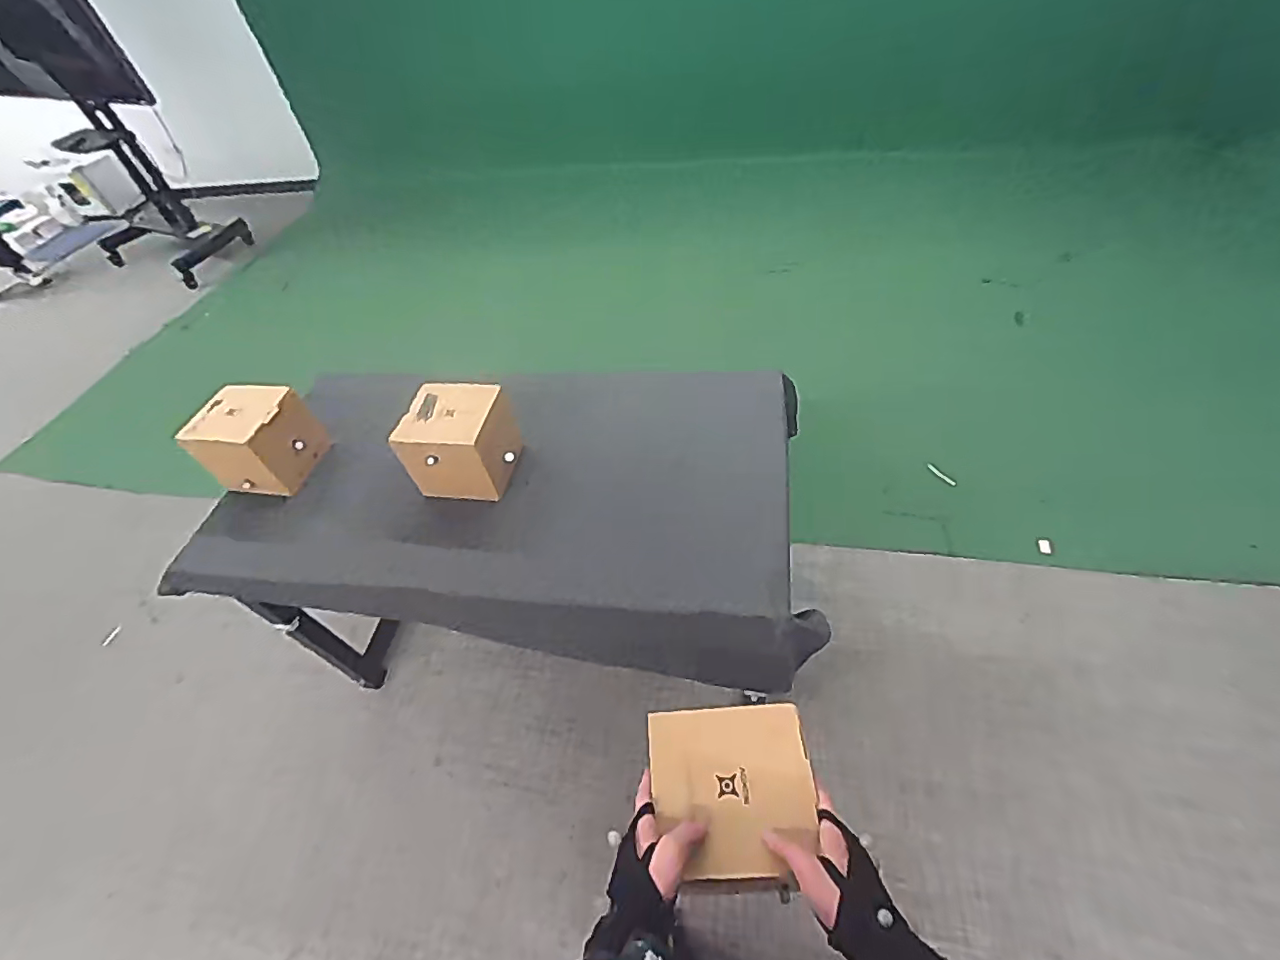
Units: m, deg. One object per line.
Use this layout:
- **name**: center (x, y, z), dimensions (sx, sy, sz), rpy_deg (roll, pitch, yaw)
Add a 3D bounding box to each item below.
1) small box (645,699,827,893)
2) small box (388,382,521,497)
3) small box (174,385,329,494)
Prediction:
- **small box**: center (0.105, 0.375, 0.638), dimensions (0.179, 0.176, 0.168), rpy_deg (-8, 47, 6)
- **small box**: center (-0.364, -0.079, 1.097), dimensions (0.179, 0.176, 0.168), rpy_deg (4, 51, 10)
- **small box**: center (-0.826, -0.085, 1.174), dimensions (0.179, 0.176, 0.168), rpy_deg (5, 51, 11)
